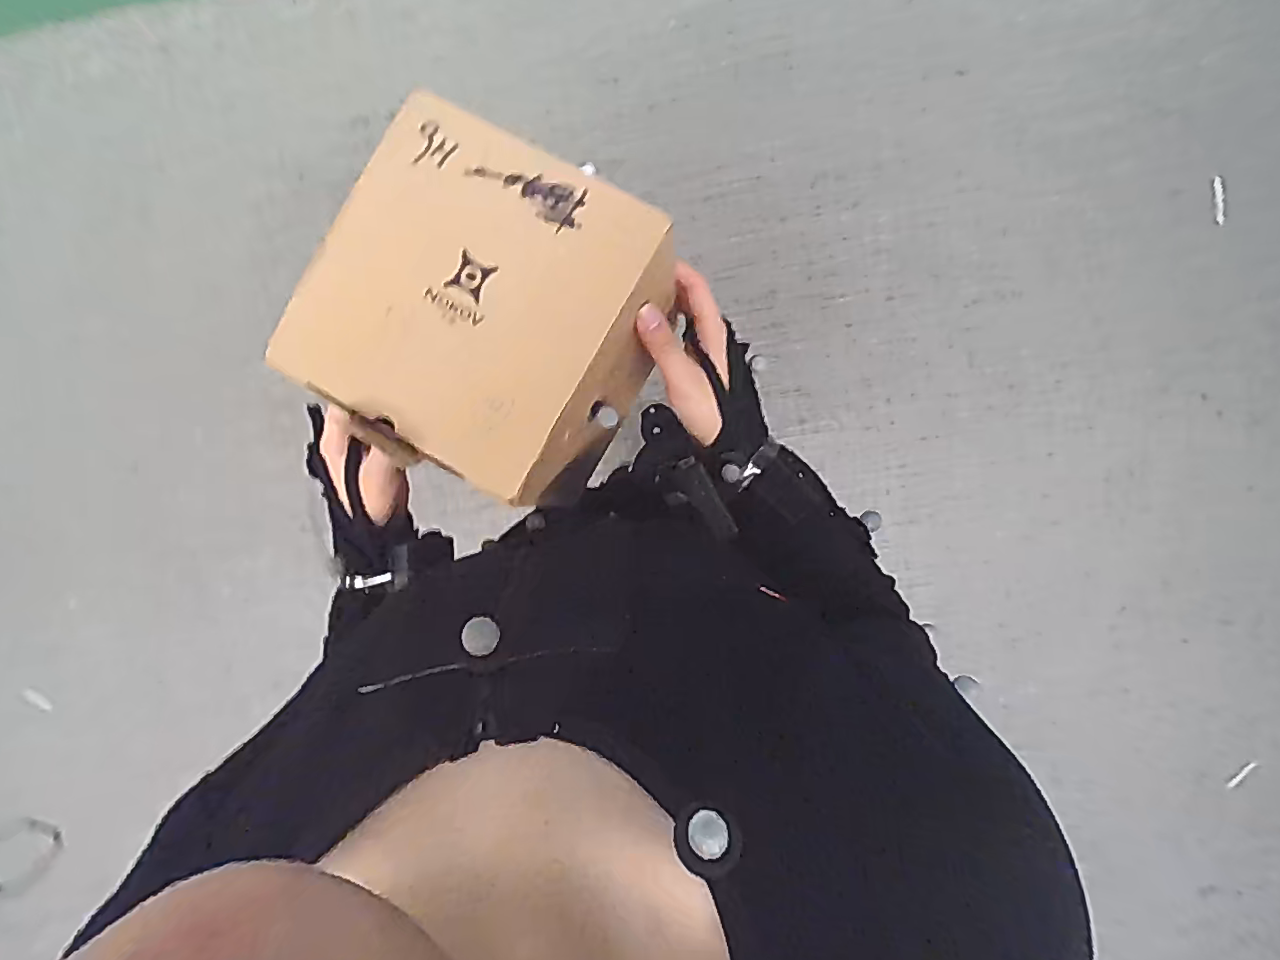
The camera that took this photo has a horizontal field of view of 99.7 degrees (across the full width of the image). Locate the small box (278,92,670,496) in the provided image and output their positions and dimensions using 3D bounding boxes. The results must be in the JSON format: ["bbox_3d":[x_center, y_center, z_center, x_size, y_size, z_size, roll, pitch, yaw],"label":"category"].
[{"bbox_3d":[-0.087,-0.101,0.375,0.168,0.176,0.179,30,91,6],"label":"small box"}]
